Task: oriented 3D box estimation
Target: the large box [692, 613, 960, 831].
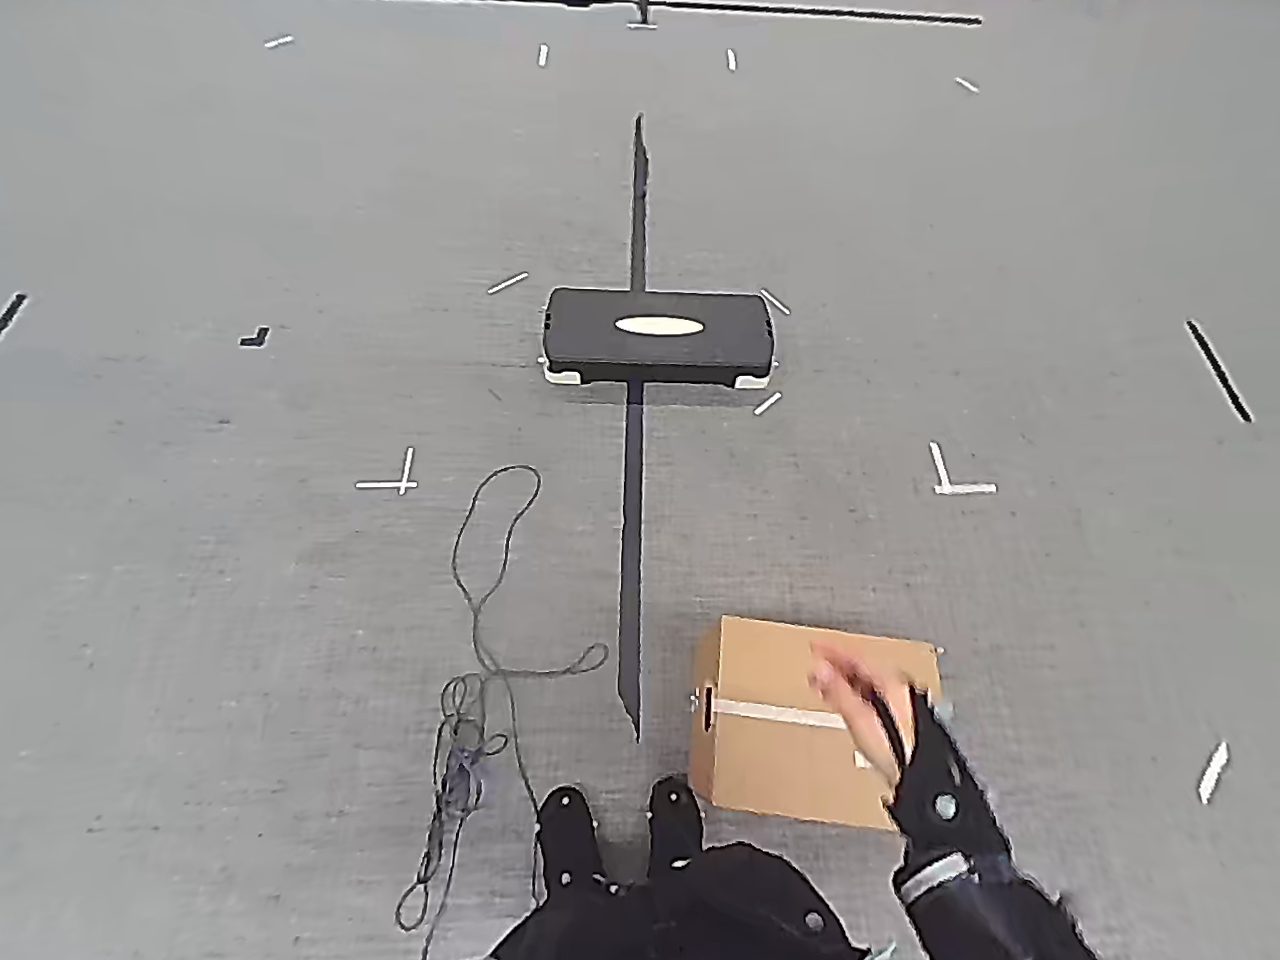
[{"bbox_3d":[0.326,0.469,1.064,0.408,0.320,0.320,8,65,0],"label":"large box"}]
